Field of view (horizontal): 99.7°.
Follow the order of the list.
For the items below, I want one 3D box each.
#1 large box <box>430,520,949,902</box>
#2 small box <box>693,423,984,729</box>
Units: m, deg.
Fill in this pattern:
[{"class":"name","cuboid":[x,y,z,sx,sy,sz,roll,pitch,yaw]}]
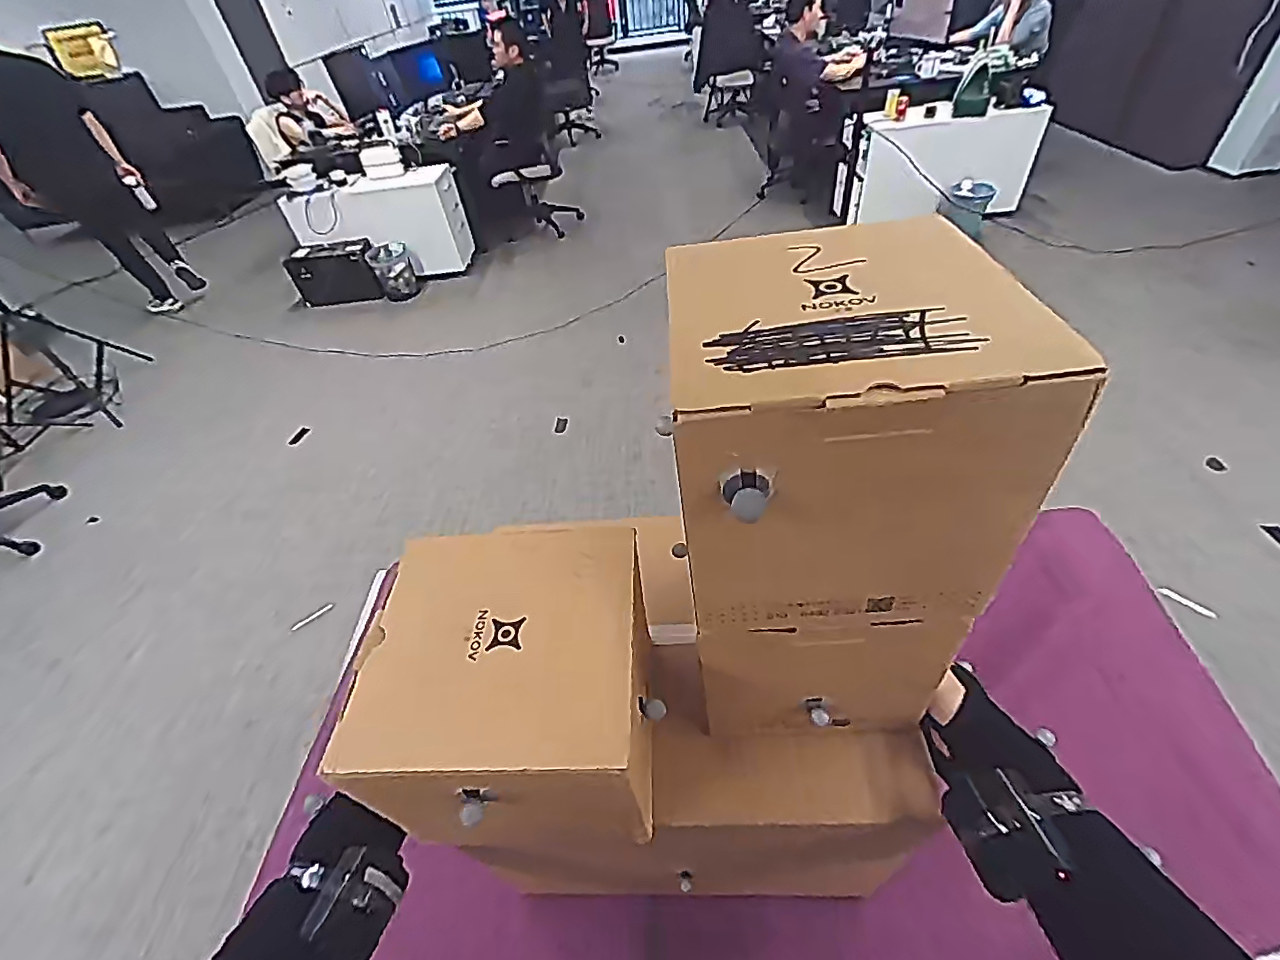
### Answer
[{"class":"large box","cuboid":[0.049,0.261,0.615,0.408,0.320,0.320,-5,43,5]},{"class":"small box","cuboid":[0.131,0.077,0.435,0.168,0.176,0.179,-5,44,6]}]
